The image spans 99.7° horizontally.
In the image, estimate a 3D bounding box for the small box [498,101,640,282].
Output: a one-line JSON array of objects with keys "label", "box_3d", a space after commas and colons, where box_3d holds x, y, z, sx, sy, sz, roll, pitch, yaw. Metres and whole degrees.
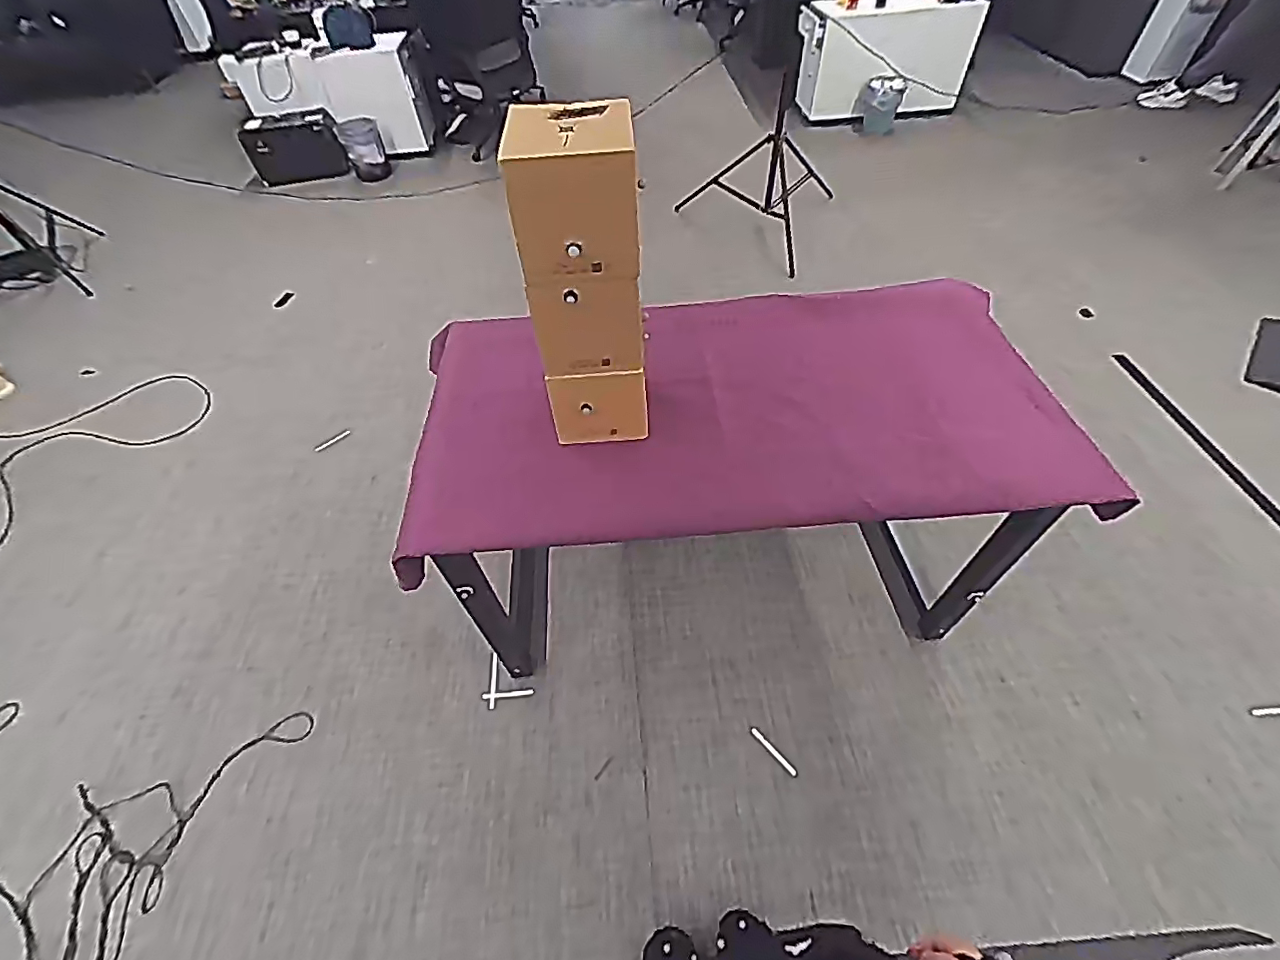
[{"label": "small box", "box_3d": [-0.088, -0.397, 0.751, 0.168, 0.176, 0.179, -4, 52, 0]}]

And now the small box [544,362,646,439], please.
[{"label": "small box", "box_3d": [-0.077, -0.189, 1.005, 0.168, 0.176, 0.179, -4, 51, 0]}]

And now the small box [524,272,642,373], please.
[{"label": "small box", "box_3d": [-0.085, -0.296, 0.881, 0.168, 0.176, 0.179, -5, 51, 0]}]
